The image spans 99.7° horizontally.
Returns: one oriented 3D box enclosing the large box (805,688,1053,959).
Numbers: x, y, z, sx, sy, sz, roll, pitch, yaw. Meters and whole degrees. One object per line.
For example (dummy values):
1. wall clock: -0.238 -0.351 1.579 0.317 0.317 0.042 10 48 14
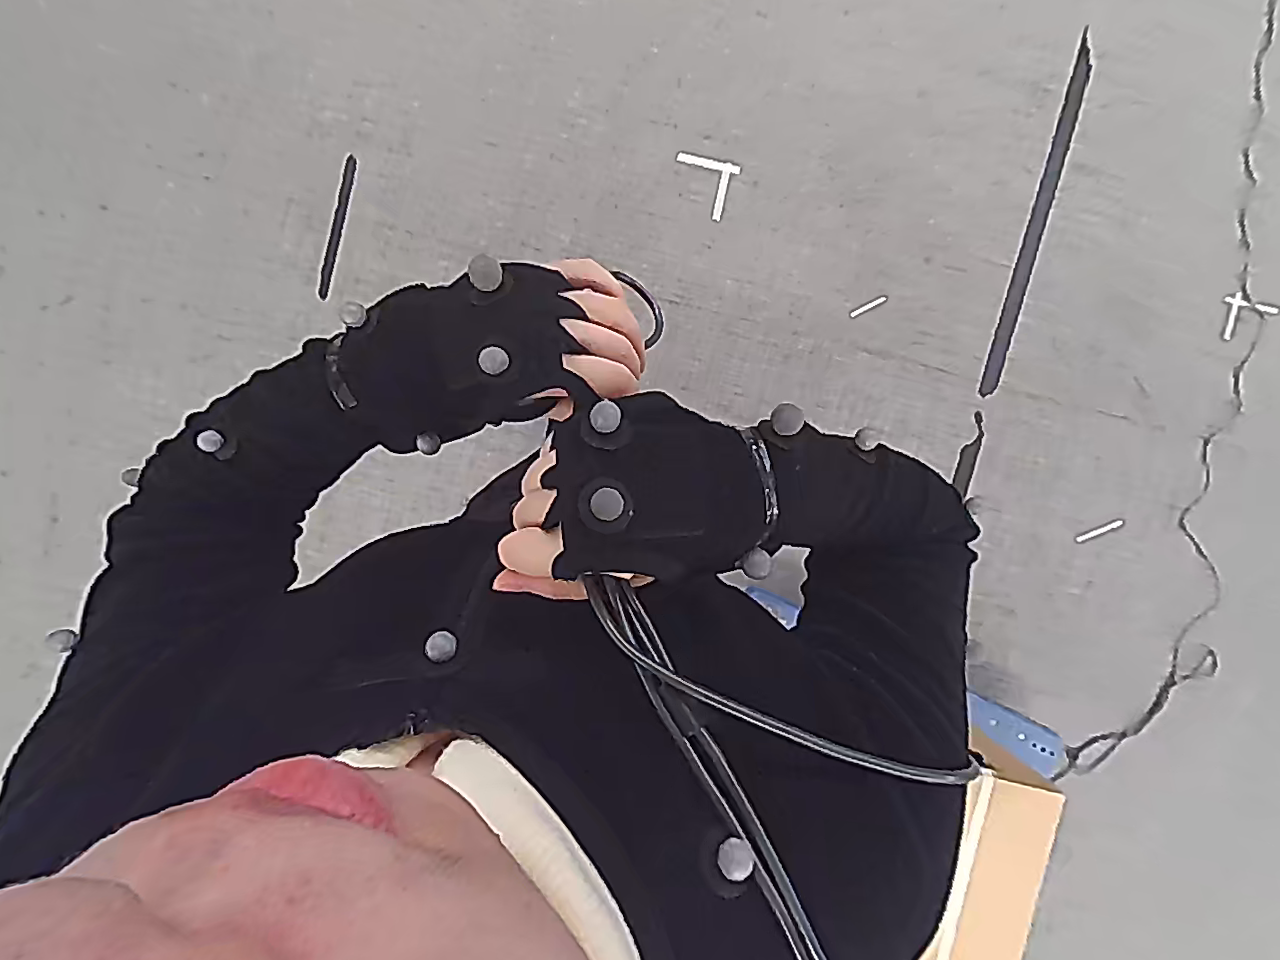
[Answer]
1. large box: 0.600 0.737 1.189 0.320 0.320 0.408 14 92 0
